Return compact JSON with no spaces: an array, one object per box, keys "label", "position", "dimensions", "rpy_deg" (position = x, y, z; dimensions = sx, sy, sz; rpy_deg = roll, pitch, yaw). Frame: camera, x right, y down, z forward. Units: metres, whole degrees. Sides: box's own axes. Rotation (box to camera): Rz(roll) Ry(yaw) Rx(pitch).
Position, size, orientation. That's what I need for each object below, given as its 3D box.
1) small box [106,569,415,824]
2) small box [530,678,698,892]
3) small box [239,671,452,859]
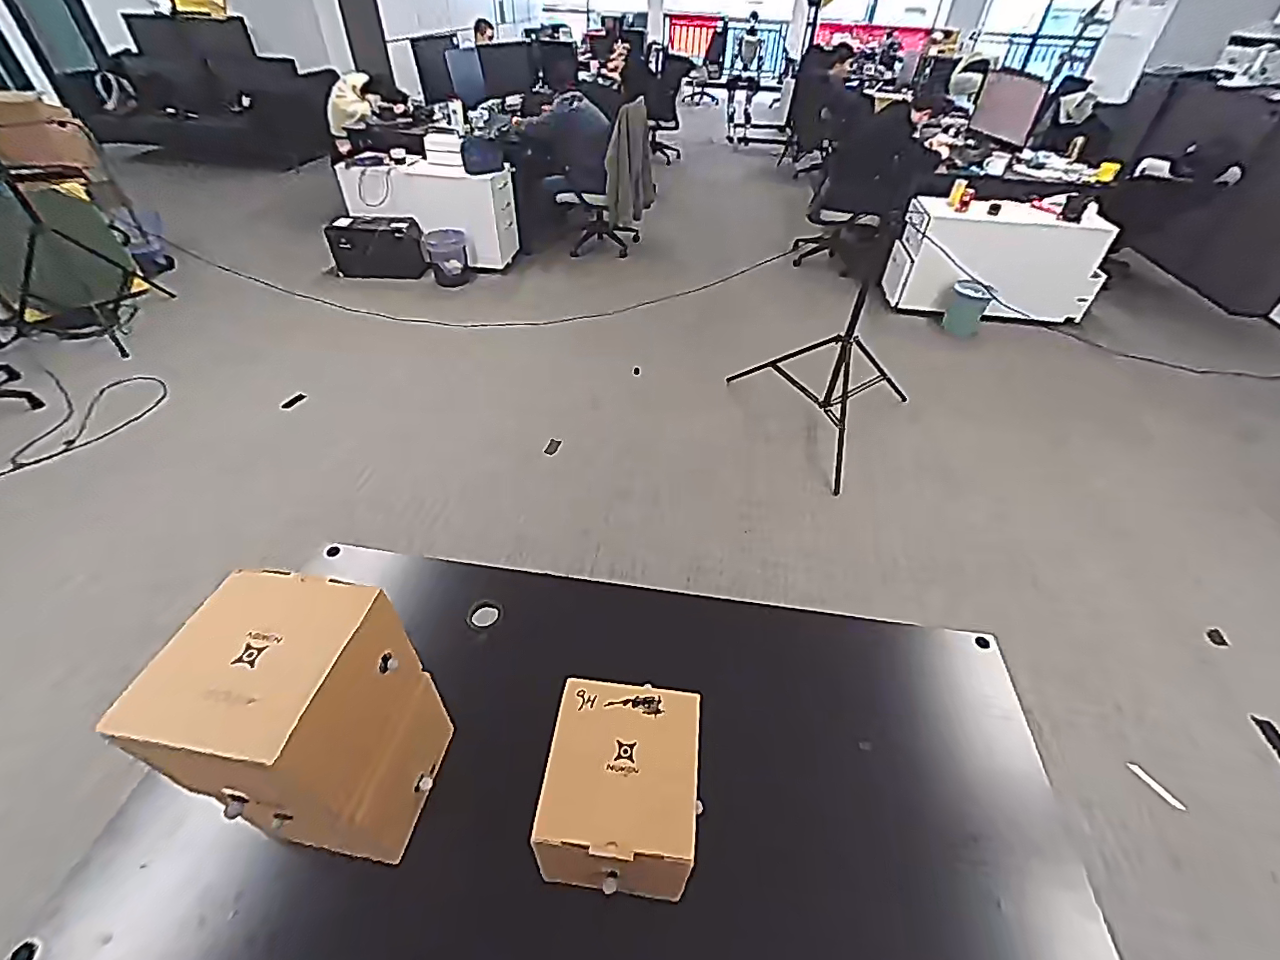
[{"label":"small box","position":[-0.355,0.220,0.556],"dimensions":[0.168,0.176,0.179],"rpy_deg":[6,43,6]},{"label":"small box","position":[-0.022,0.369,0.652],"dimensions":[0.168,0.176,0.179],"rpy_deg":[6,42,4]},{"label":"small box","position":[-0.358,0.340,0.666],"dimensions":[0.179,0.176,0.168],"rpy_deg":[8,42,5]}]
